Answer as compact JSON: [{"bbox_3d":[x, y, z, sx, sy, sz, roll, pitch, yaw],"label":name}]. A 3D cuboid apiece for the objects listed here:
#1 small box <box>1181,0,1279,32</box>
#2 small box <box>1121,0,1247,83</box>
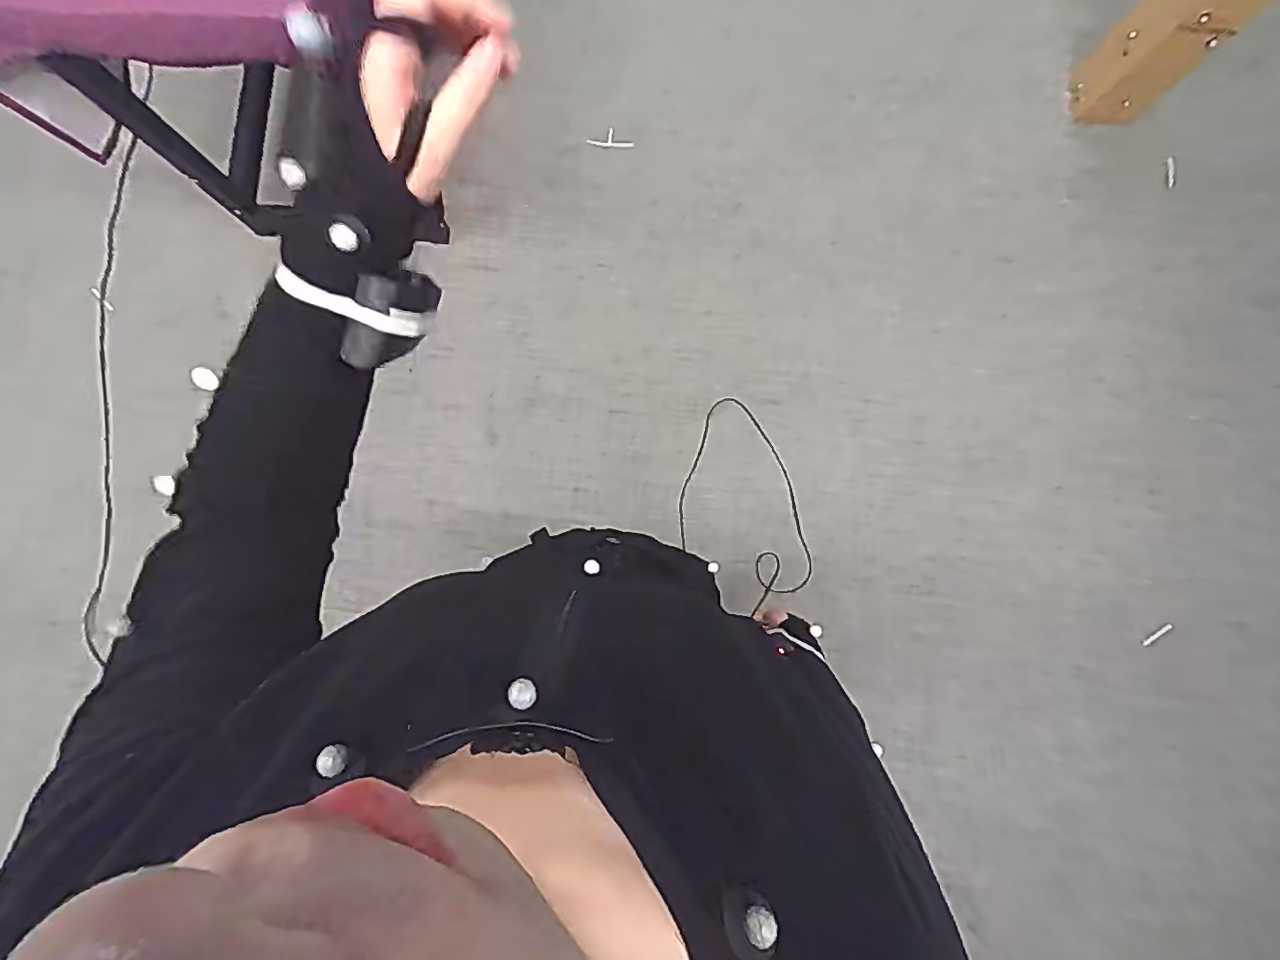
[{"bbox_3d":[1.449,-1.221,1.289,0.168,0.176,0.179,5,83,0],"label":"small box"},{"bbox_3d":[1.454,-1.209,1.453,0.179,0.176,0.168,3,83,1],"label":"small box"}]
